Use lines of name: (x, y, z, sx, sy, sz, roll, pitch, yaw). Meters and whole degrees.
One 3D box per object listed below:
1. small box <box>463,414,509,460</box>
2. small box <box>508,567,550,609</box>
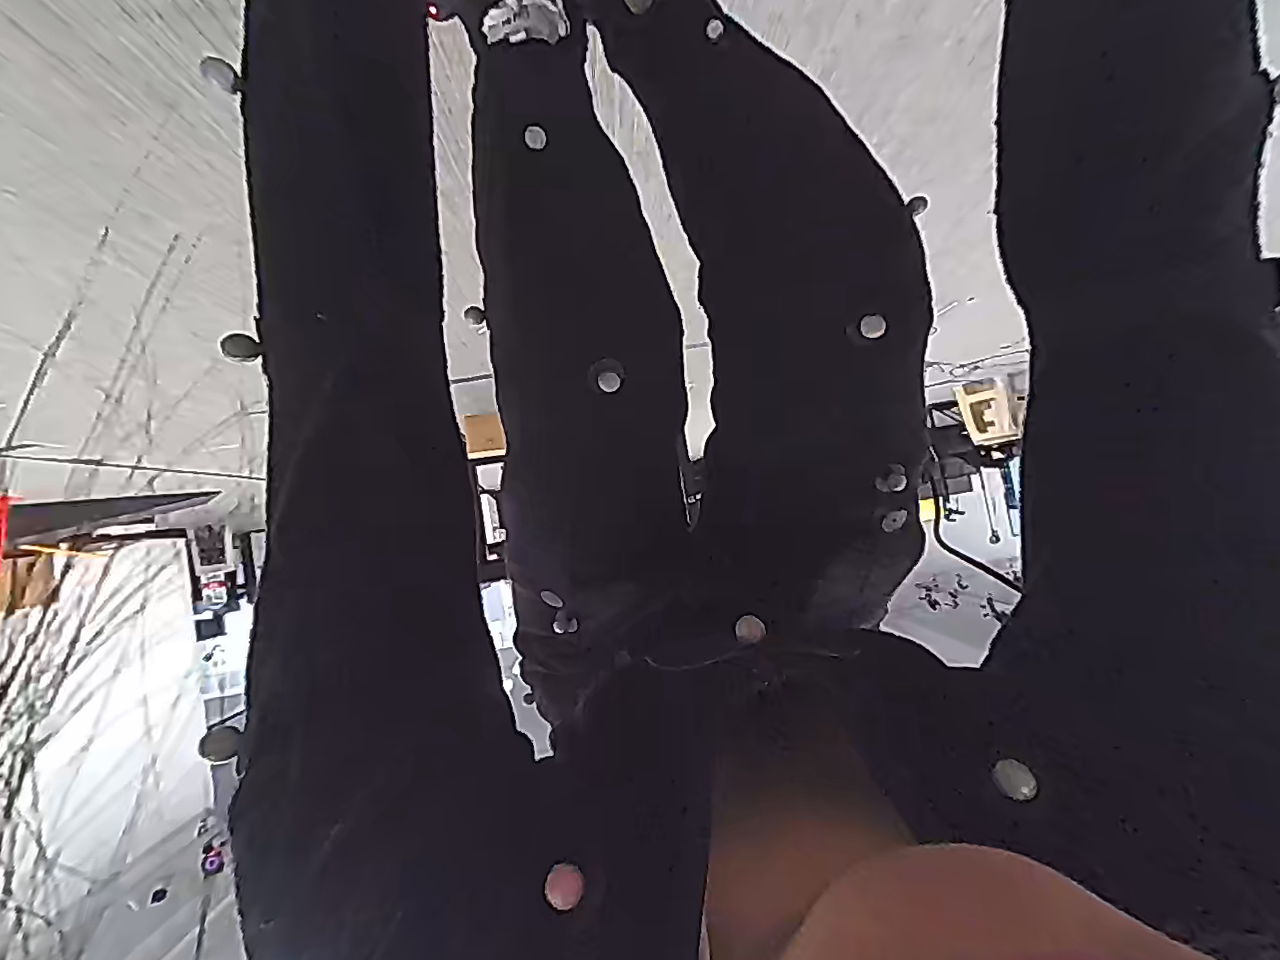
small box: (-0.710, -0.197, 2.476, 0.179, 0.176, 0.168, -10, 176, -20)
small box: (-0.551, 0.532, 2.683, 0.179, 0.176, 0.168, -10, 177, -5)
